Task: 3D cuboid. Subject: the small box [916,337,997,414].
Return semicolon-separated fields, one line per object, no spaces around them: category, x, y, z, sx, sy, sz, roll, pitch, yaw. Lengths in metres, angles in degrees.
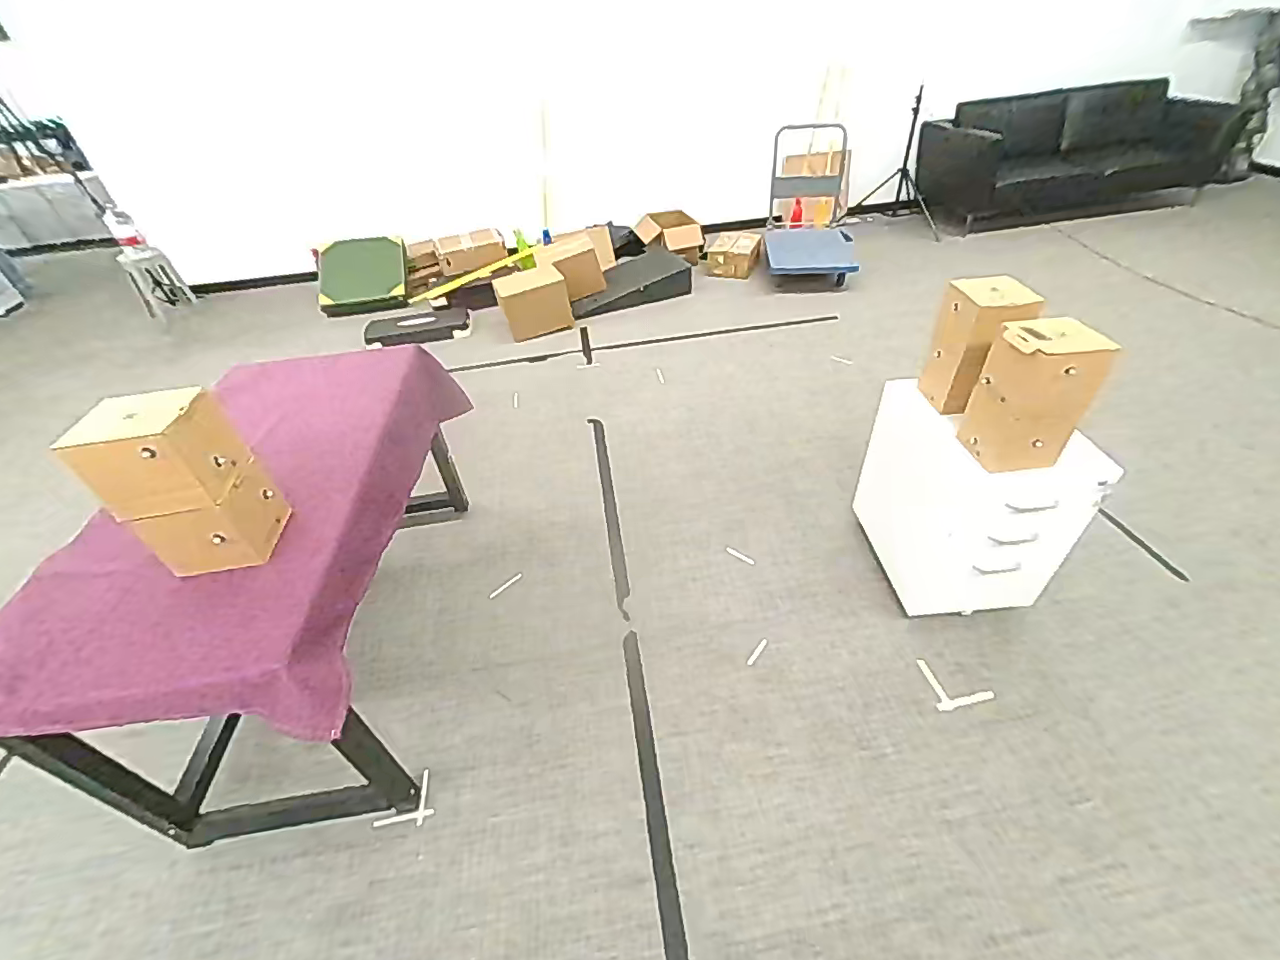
small box;0.941;-0.308;1.573;0.179;0.176;0.168;-4;41;0

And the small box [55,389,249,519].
small box;-0.877;-0.046;0.997;0.179;0.176;0.168;-9;40;-7

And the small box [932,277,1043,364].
small box;0.927;-0.433;1.465;0.168;0.176;0.179;-5;41;1

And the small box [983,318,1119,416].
small box;0.943;-0.262;1.268;0.179;0.176;0.168;-5;41;-2

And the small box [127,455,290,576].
small box;-0.861;0.074;1.105;0.179;0.176;0.168;-9;40;-4
